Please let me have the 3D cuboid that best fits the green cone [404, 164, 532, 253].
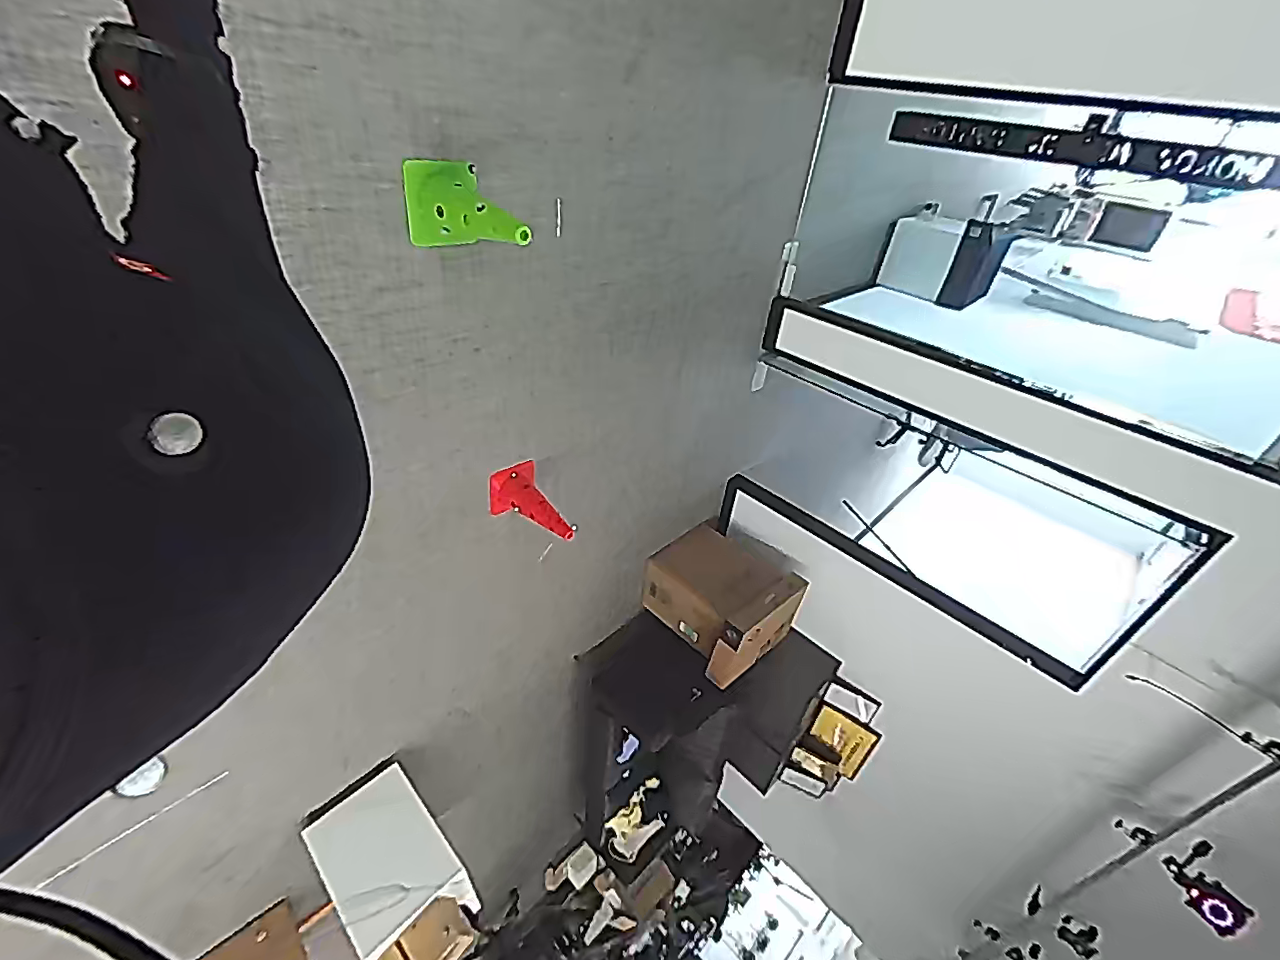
[{"bbox_3d":[-0.392,-0.629,1.324,0.200,0.368,0.202,-27,139,-38],"label":"green cone"}]
